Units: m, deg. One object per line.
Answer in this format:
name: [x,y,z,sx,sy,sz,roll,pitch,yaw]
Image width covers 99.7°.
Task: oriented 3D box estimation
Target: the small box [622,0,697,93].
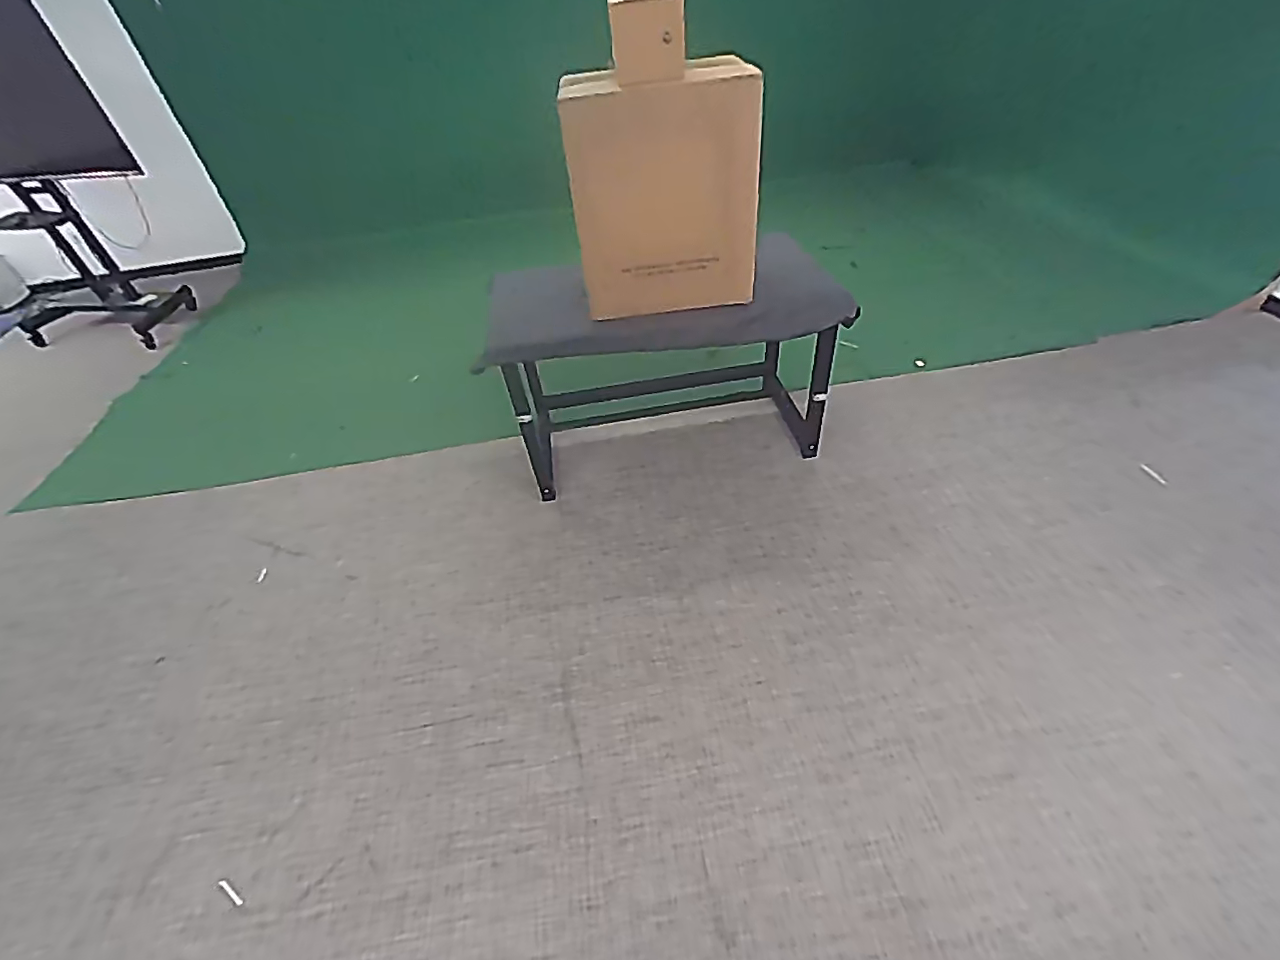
small box: [0.052,-1.129,1.403,0.179,0.176,0.168,-8,44,1]
